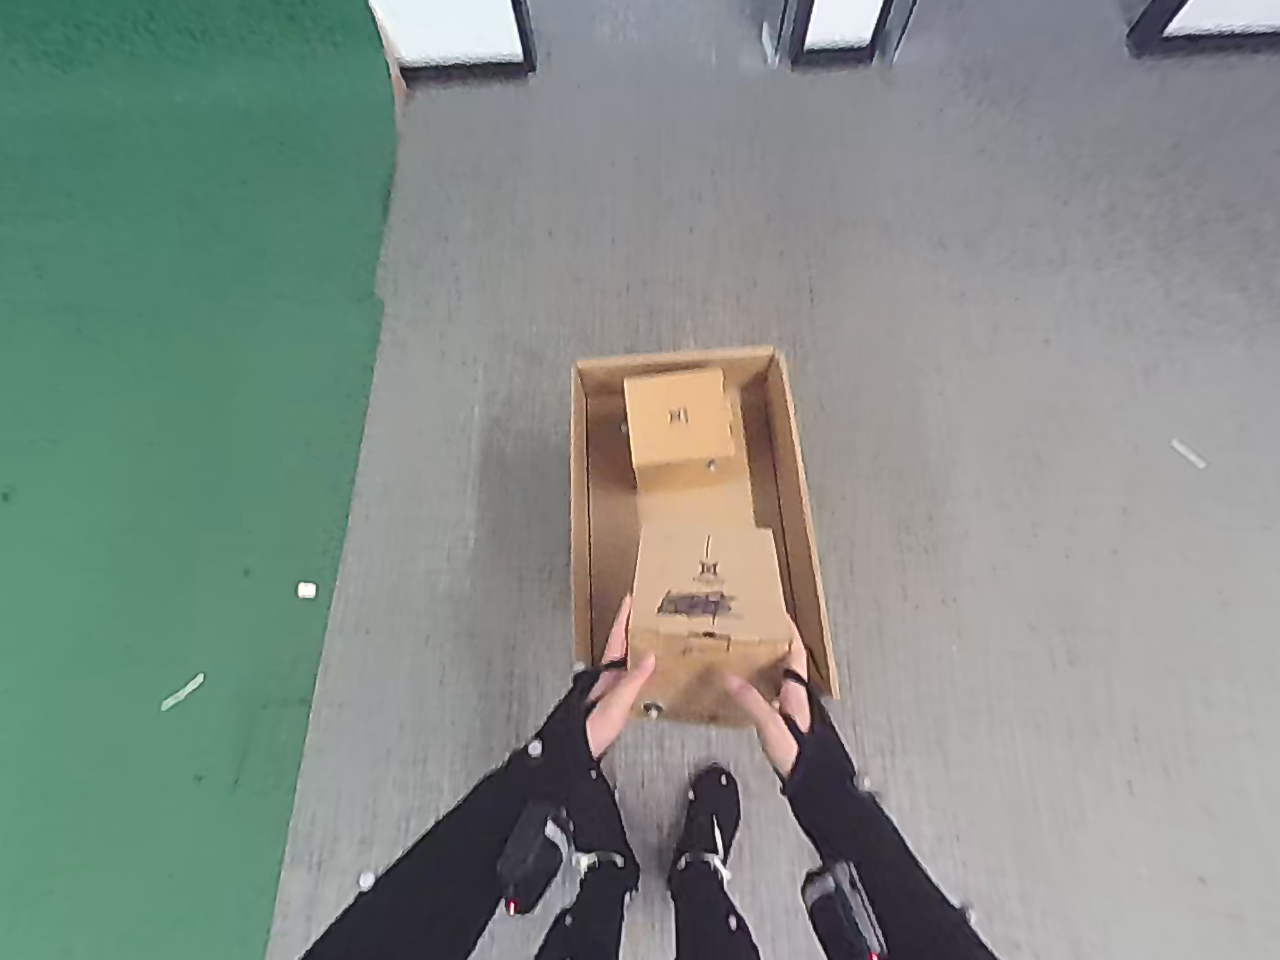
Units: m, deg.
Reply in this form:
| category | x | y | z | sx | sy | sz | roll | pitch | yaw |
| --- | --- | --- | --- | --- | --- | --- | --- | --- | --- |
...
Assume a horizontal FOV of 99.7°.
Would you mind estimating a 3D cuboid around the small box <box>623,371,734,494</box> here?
| category | x | y | z | sx | sy | sz | roll | pitch | yaw |
| --- | --- | --- | --- | --- | --- | --- | --- | --- | --- |
| small box | 0.068 | -0.080 | 1.000 | 0.179 | 0.176 | 0.168 | -7 | 71 | 0 |

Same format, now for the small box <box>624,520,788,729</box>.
| category | x | y | z | sx | sy | sz | roll | pitch | yaw |
| --- | --- | --- | --- | --- | --- | --- | --- | --- | --- |
| small box | 0.072 | 0.171 | 0.646 | 0.168 | 0.176 | 0.179 | 5 | 37 | 3 |
